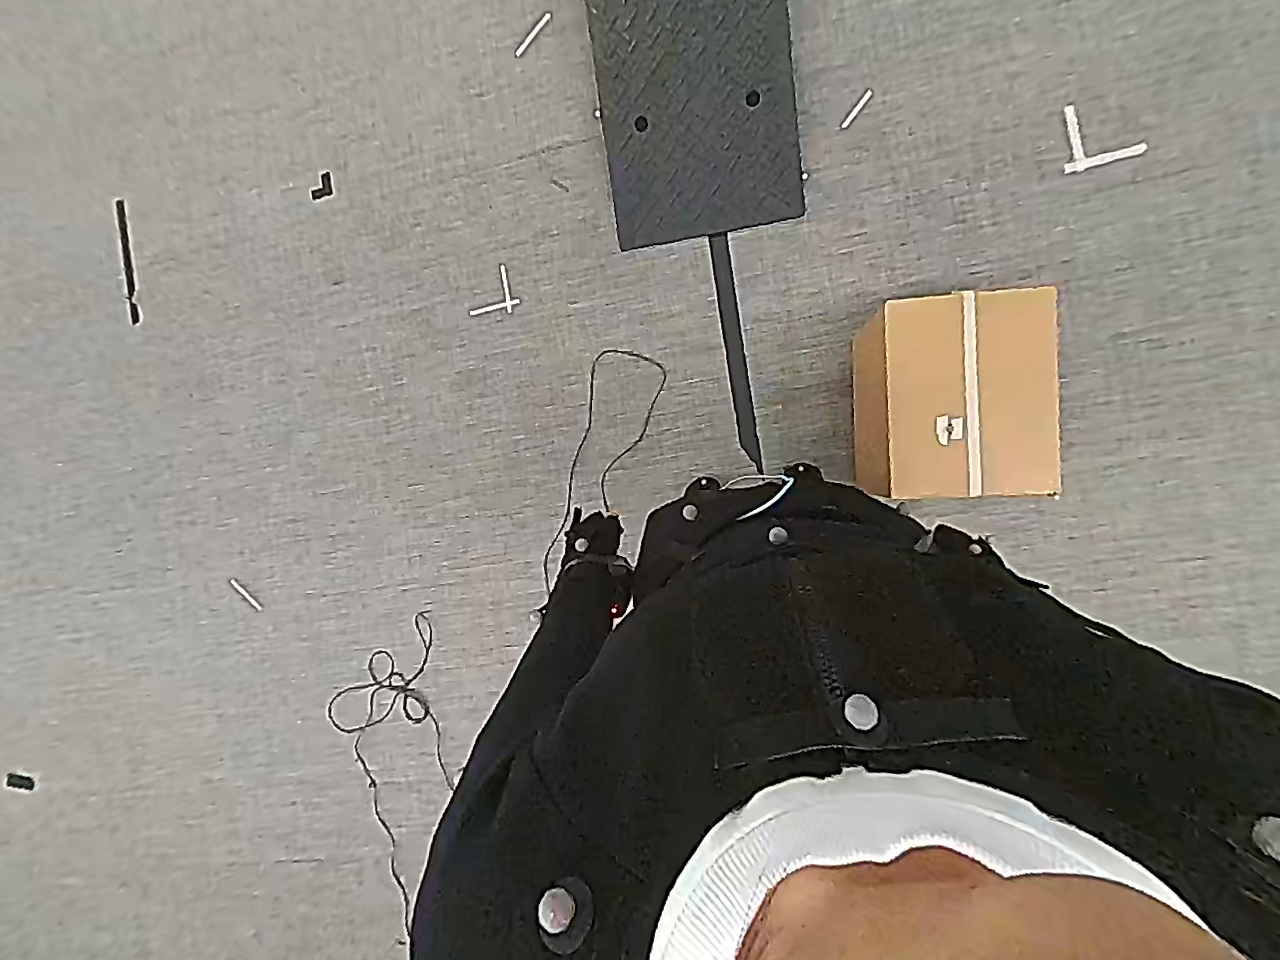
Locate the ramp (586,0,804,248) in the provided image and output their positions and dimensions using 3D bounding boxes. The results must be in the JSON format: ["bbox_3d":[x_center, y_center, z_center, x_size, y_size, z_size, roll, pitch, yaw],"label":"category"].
[{"bbox_3d":[0.117,-1.146,1.348,0.509,0.206,0.991,-9,91,9],"label":"ramp"}]

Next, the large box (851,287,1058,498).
[{"bbox_3d":[0.678,-0.175,1.219,0.320,0.320,0.408,-2,92,10],"label":"large box"}]
